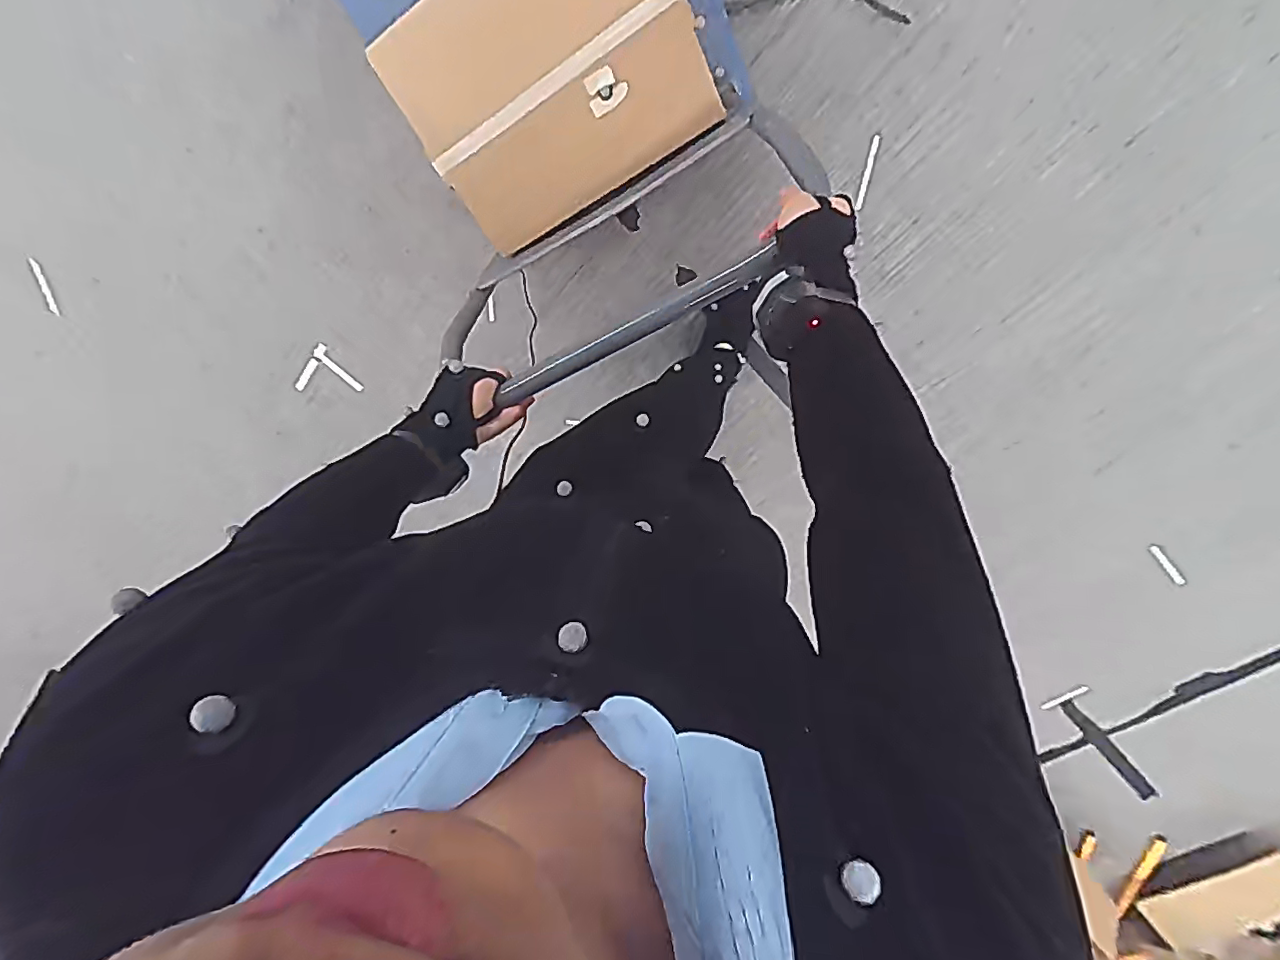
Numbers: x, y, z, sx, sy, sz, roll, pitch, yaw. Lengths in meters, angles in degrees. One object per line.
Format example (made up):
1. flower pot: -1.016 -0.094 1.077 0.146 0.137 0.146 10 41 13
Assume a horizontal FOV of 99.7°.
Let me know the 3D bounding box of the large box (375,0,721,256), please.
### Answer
1. large box: -0.125 -0.642 0.881 0.408 0.320 0.320 -25 122 18
